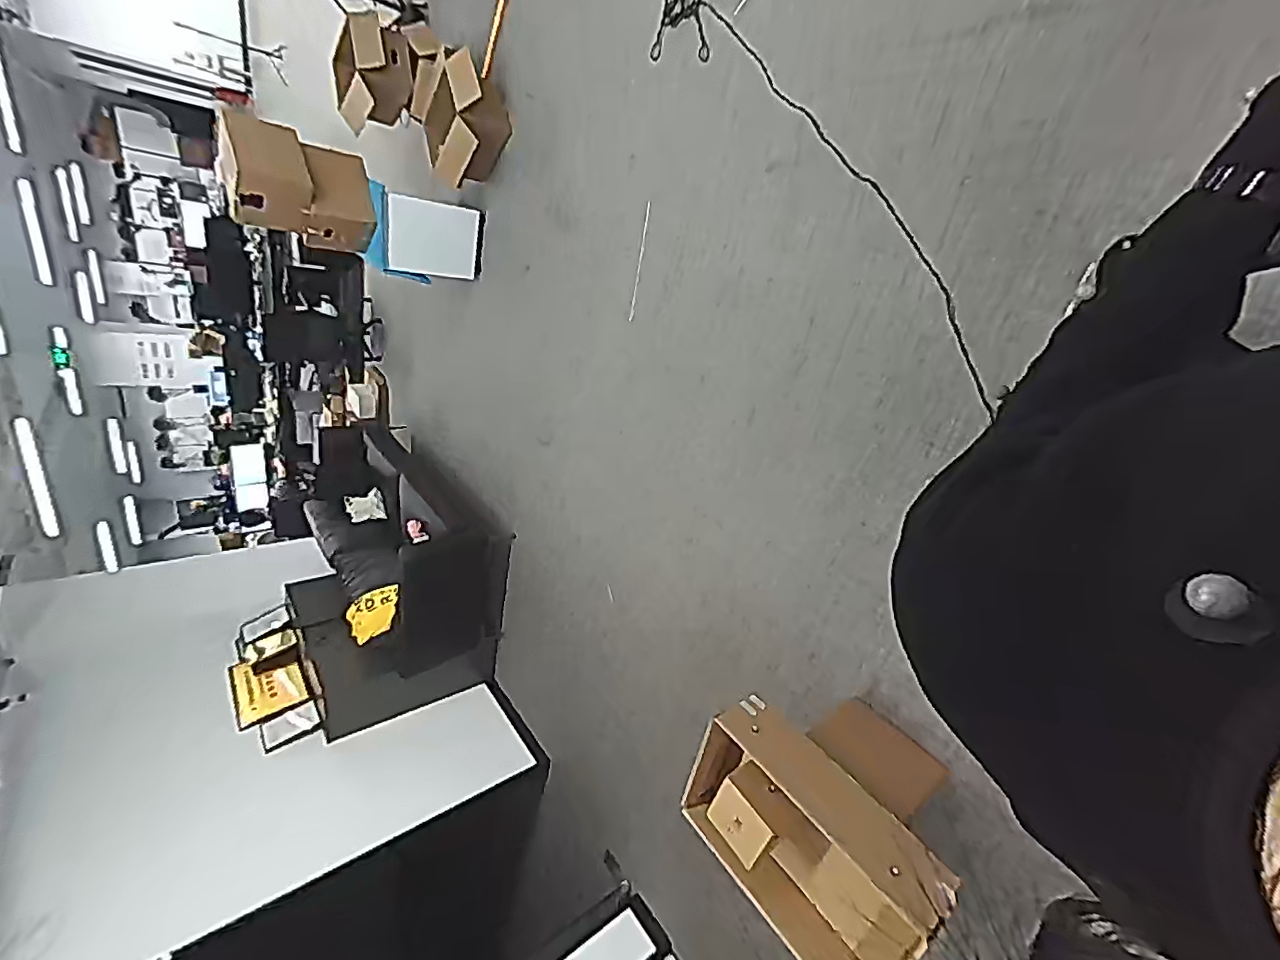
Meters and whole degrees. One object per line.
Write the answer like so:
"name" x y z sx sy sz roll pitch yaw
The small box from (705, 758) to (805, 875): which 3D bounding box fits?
"small box" 0.307 0.875 1.424 0.168 0.176 0.179 42 126 39
